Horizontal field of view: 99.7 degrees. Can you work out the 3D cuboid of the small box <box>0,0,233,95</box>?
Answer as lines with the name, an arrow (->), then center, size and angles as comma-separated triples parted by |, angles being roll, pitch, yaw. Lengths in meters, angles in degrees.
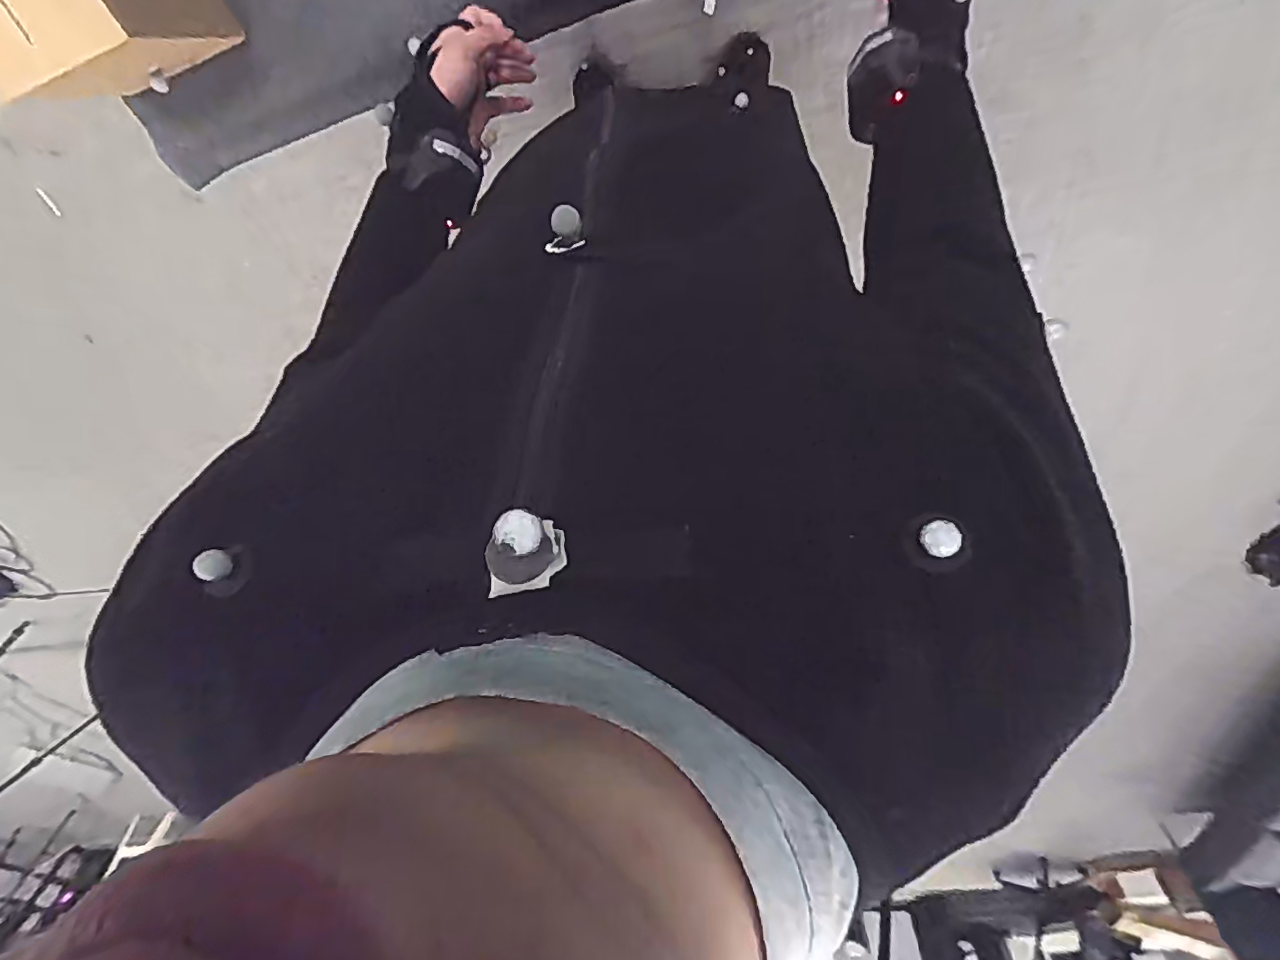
small box -> -0.517, -0.456, 0.462 | 0.168, 0.176, 0.179 | -12, 127, 12
